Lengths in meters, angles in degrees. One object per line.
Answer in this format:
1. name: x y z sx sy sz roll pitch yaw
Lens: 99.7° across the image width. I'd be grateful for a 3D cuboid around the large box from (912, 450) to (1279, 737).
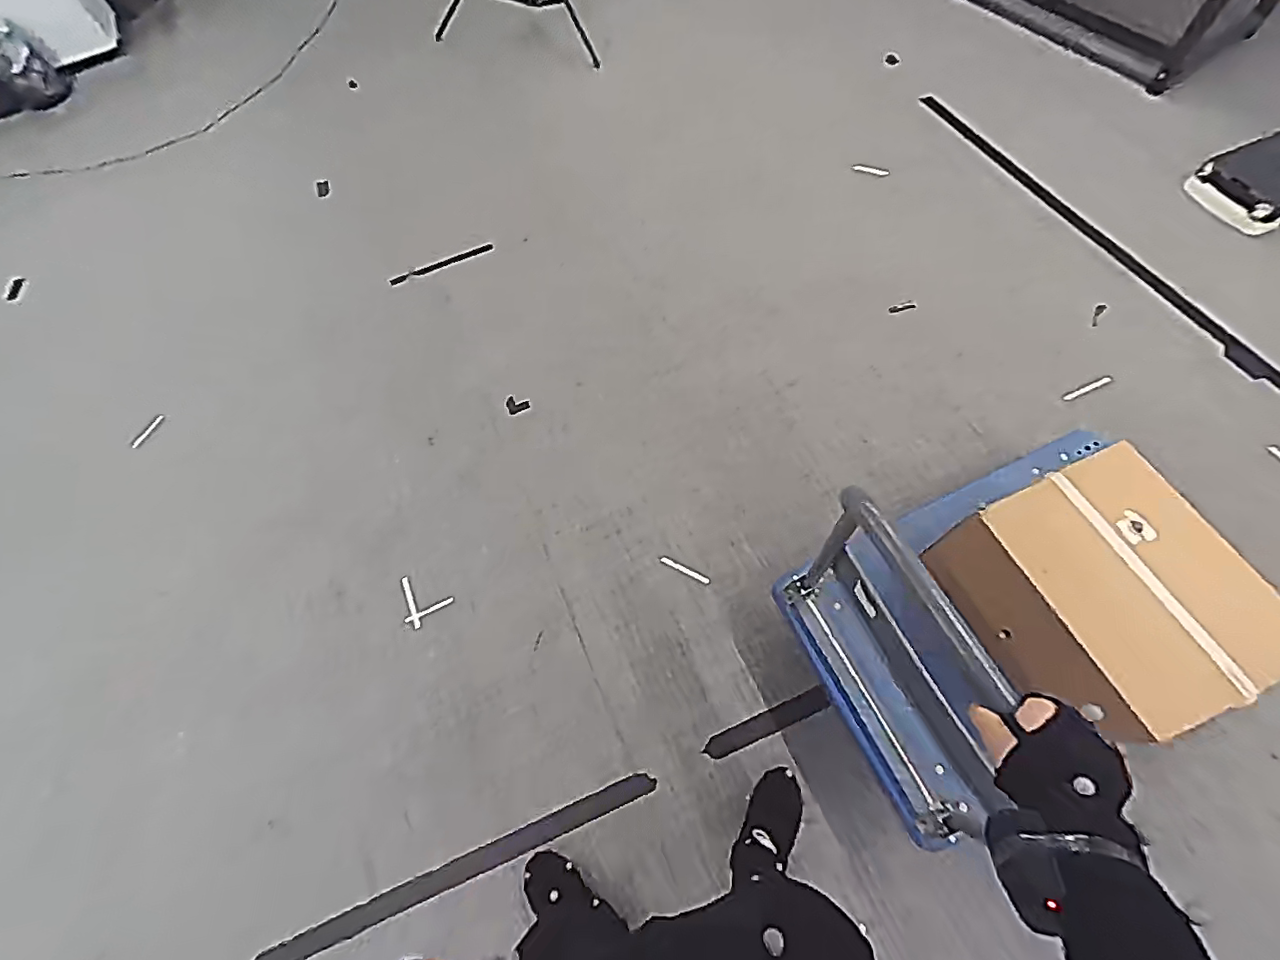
1. large box: 0.819 0.226 1.039 0.320 0.320 0.408 -24 64 -5
